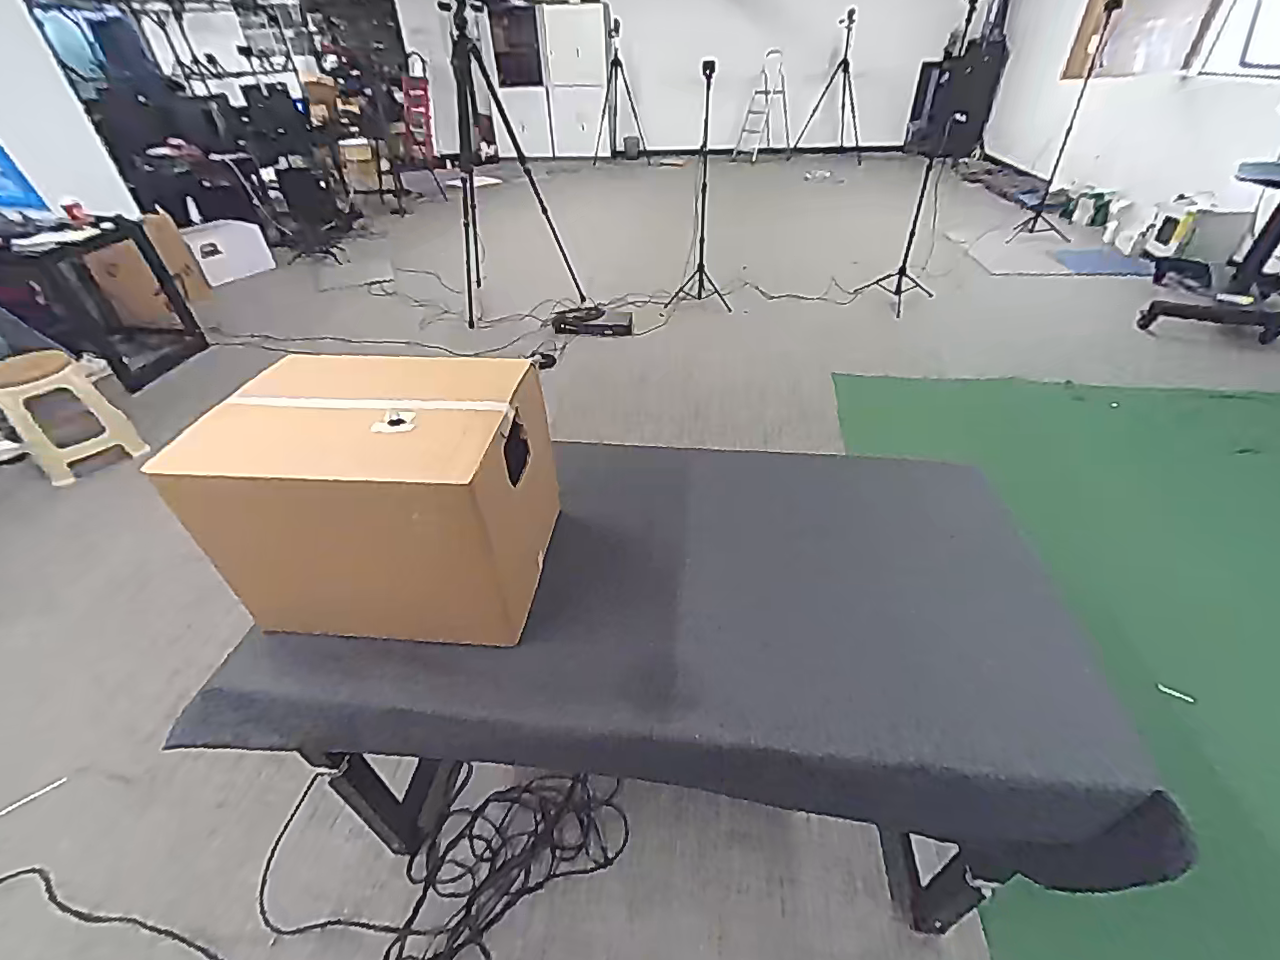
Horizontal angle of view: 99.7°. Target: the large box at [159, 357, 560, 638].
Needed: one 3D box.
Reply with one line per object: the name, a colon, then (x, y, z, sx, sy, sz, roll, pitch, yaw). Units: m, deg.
large box: (-0.359, 0.020, 0.830, 0.408, 0.320, 0.320, 3, 39, 4)
